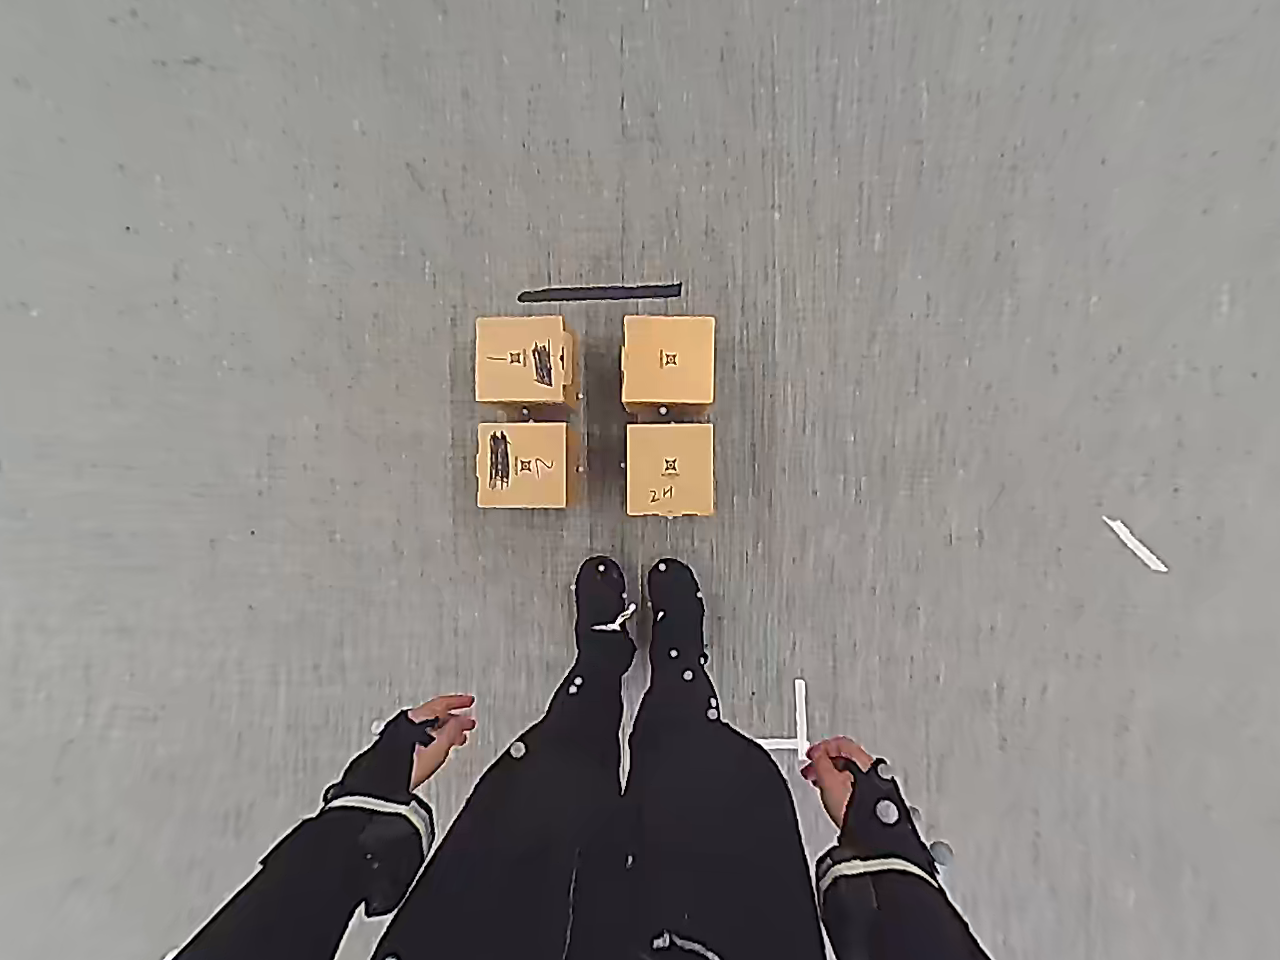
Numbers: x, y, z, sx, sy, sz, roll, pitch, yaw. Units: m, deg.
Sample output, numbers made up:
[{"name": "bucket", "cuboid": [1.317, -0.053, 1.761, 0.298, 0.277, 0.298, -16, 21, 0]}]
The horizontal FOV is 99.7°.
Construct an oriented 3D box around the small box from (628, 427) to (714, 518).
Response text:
[{"name": "small box", "cuboid": [0.063, -0.013, 1.112, 0.168, 0.176, 0.179, 0, 90, 3]}]
